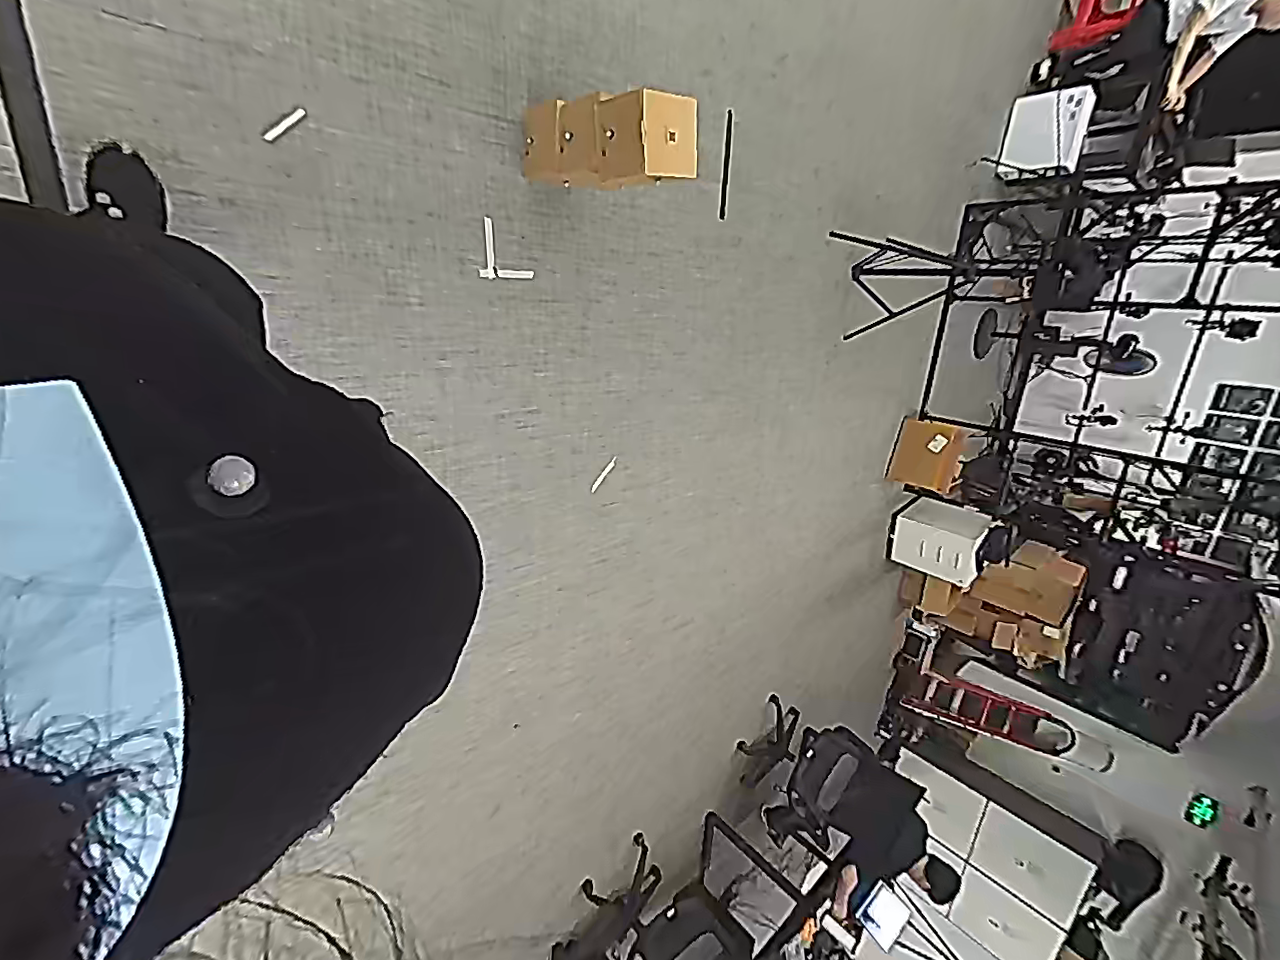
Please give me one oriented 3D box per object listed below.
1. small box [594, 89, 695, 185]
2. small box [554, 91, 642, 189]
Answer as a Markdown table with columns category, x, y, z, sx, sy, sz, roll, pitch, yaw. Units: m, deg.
| category | x | y | z | sx | sy | sz | roll | pitch | yaw |
| --- | --- | --- | --- | --- | --- | --- | --- | --- | --- |
| small box | 0.011 | -0.810 | 1.294 | 0.179 | 0.176 | 0.168 | -21 | 120 | -37 |
| small box | -0.099 | -0.867 | 1.401 | 0.179 | 0.176 | 0.168 | -8 | 110 | -42 |
